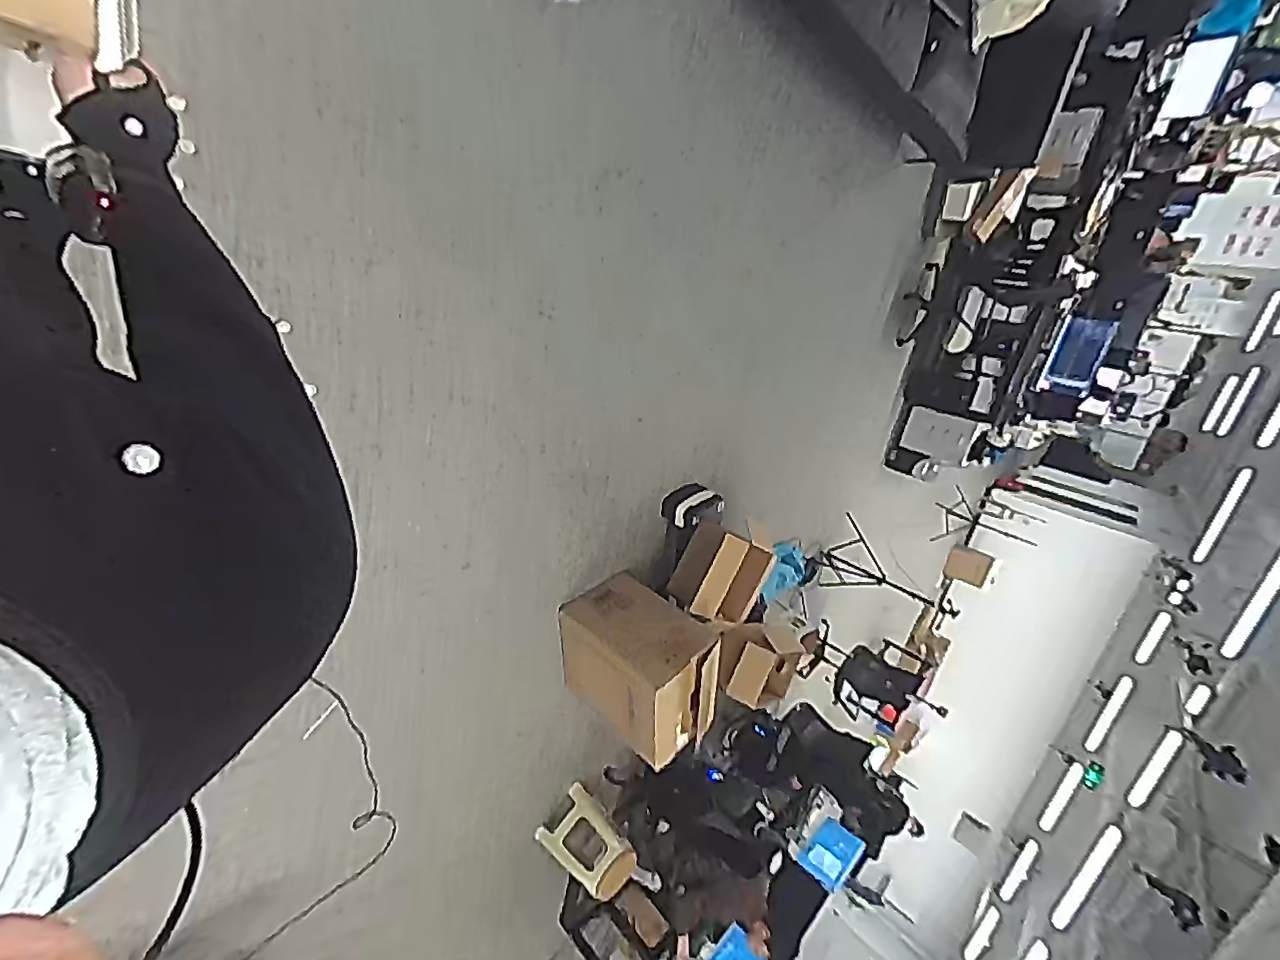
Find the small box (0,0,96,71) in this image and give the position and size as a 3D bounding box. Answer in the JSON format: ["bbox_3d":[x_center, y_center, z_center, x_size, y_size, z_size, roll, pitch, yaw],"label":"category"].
[{"bbox_3d":[-0.614,-0.495,0.476,0.179,0.176,0.168,-5,113,-46],"label":"small box"}]
